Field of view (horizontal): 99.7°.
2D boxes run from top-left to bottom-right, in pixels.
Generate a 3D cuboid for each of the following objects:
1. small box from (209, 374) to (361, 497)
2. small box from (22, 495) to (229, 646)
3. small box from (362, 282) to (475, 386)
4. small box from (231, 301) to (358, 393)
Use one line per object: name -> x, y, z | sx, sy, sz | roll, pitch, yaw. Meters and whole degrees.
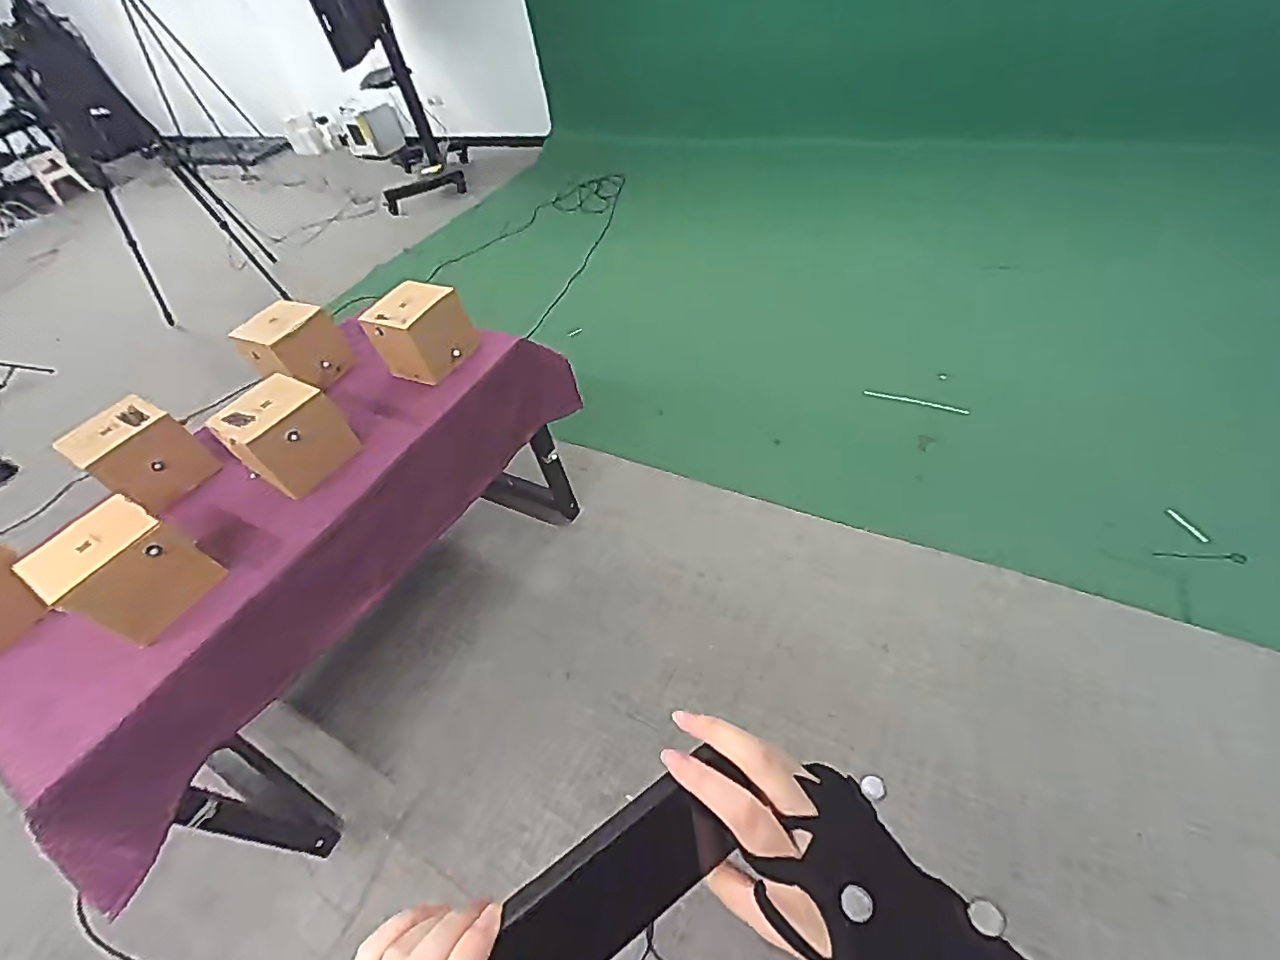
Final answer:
small box -> -0.739, -0.092, 1.145 | 0.168, 0.176, 0.179 | 21, 55, 27
small box -> -0.895, 0.162, 0.956 | 0.168, 0.176, 0.179 | 19, 54, 26
small box -> -0.534, -0.362, 1.339 | 0.168, 0.176, 0.179 | 16, 54, 25
small box -> -0.875, -0.333, 1.384 | 0.179, 0.176, 0.168 | 16, 55, 23
